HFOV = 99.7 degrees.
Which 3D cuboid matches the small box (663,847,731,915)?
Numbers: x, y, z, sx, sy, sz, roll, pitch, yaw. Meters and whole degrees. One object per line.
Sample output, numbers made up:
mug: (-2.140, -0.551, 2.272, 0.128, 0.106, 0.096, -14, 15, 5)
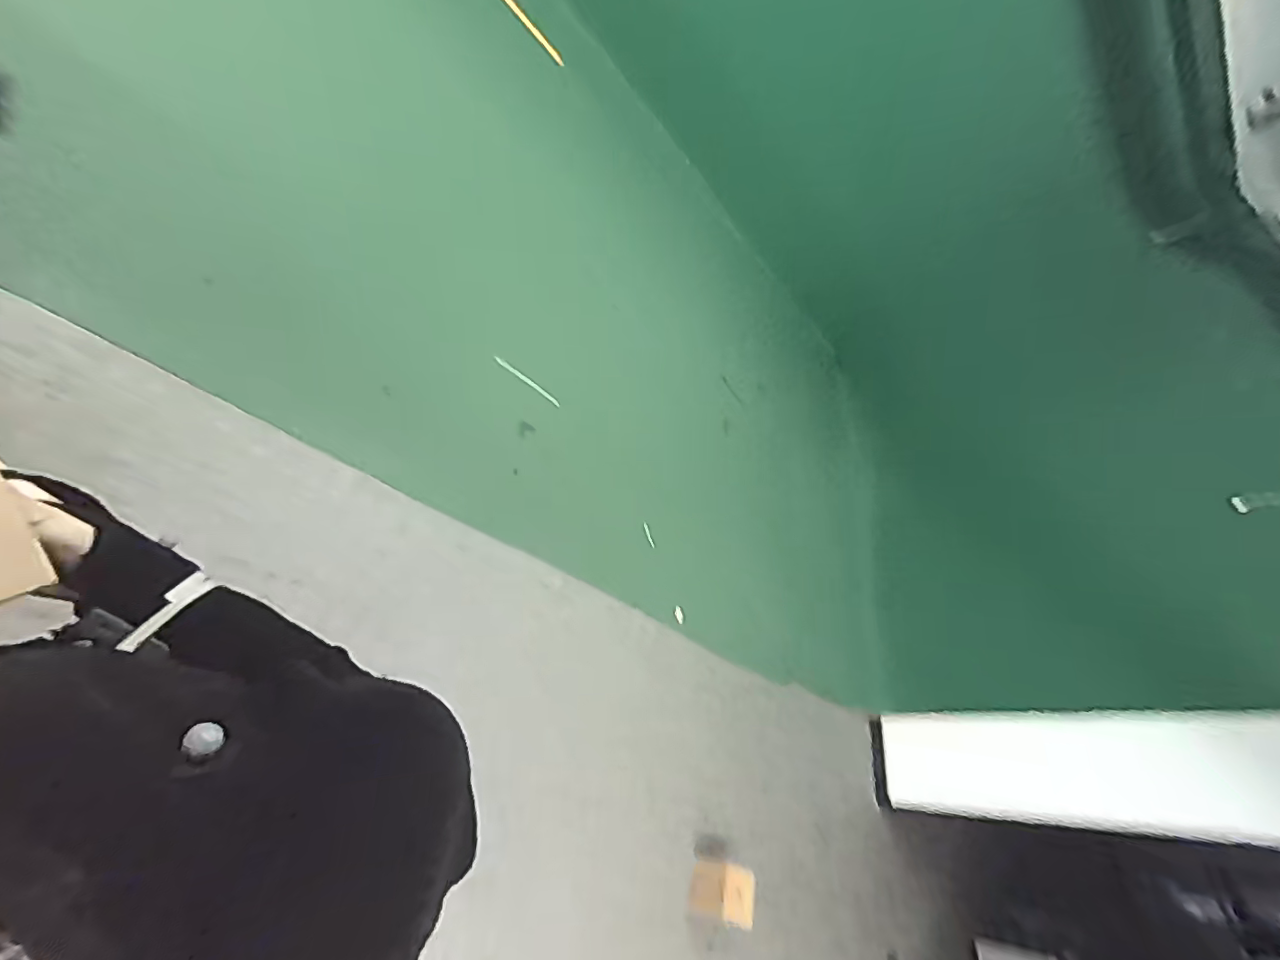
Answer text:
small box: (0.213, 1.481, 2.003, 0.179, 0.176, 0.168, 40, 46, -31)
